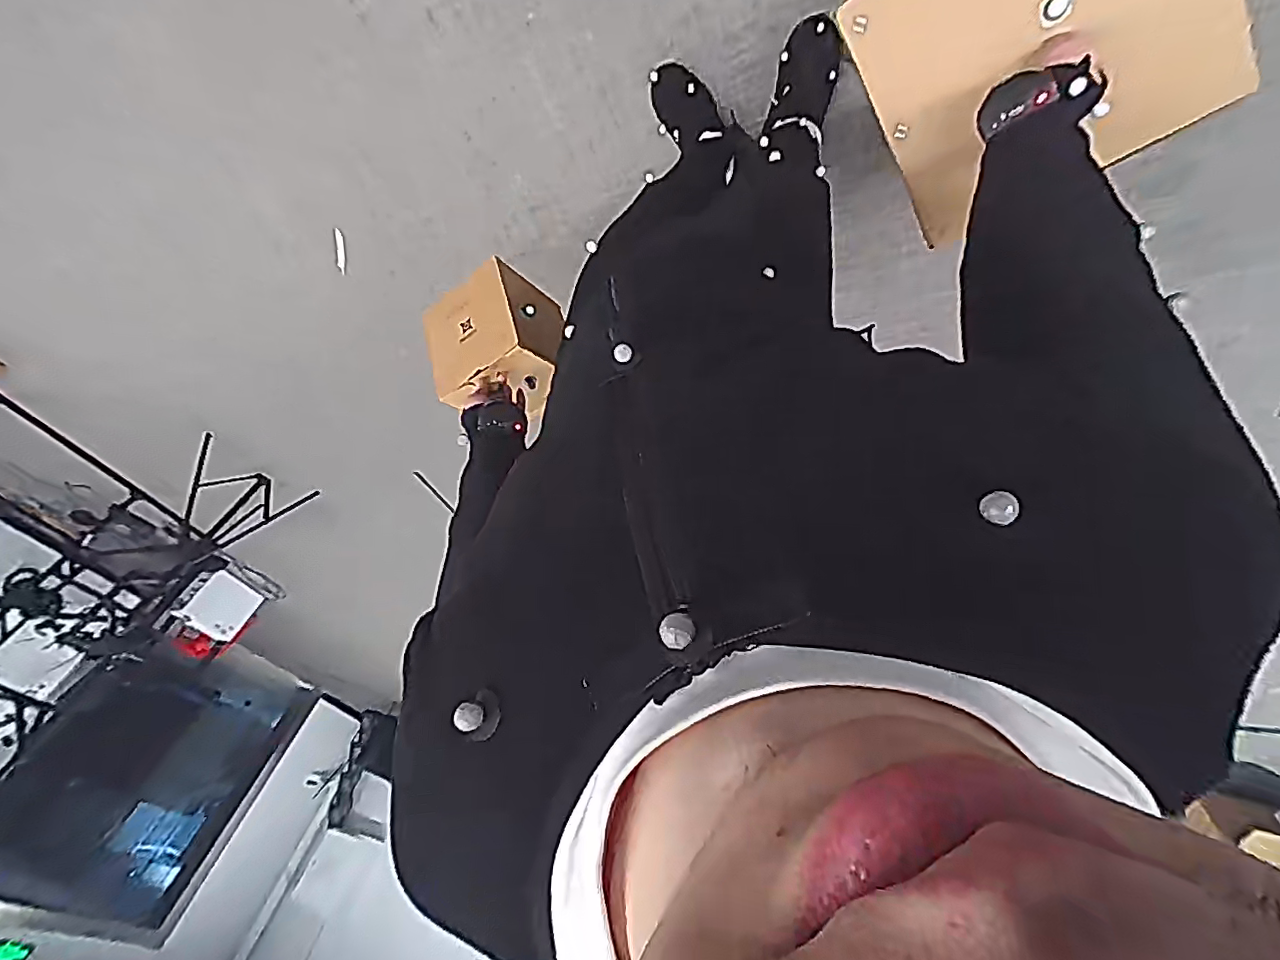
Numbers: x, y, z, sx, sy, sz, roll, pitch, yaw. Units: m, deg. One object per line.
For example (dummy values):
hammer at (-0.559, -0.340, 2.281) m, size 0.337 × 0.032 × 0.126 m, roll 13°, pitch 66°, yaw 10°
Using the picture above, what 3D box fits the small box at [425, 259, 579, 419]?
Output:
small box at (-0.223, -0.217, 0.896) m, size 0.168 × 0.179 × 0.176 m, roll -26°, pitch 158°, yaw 21°
